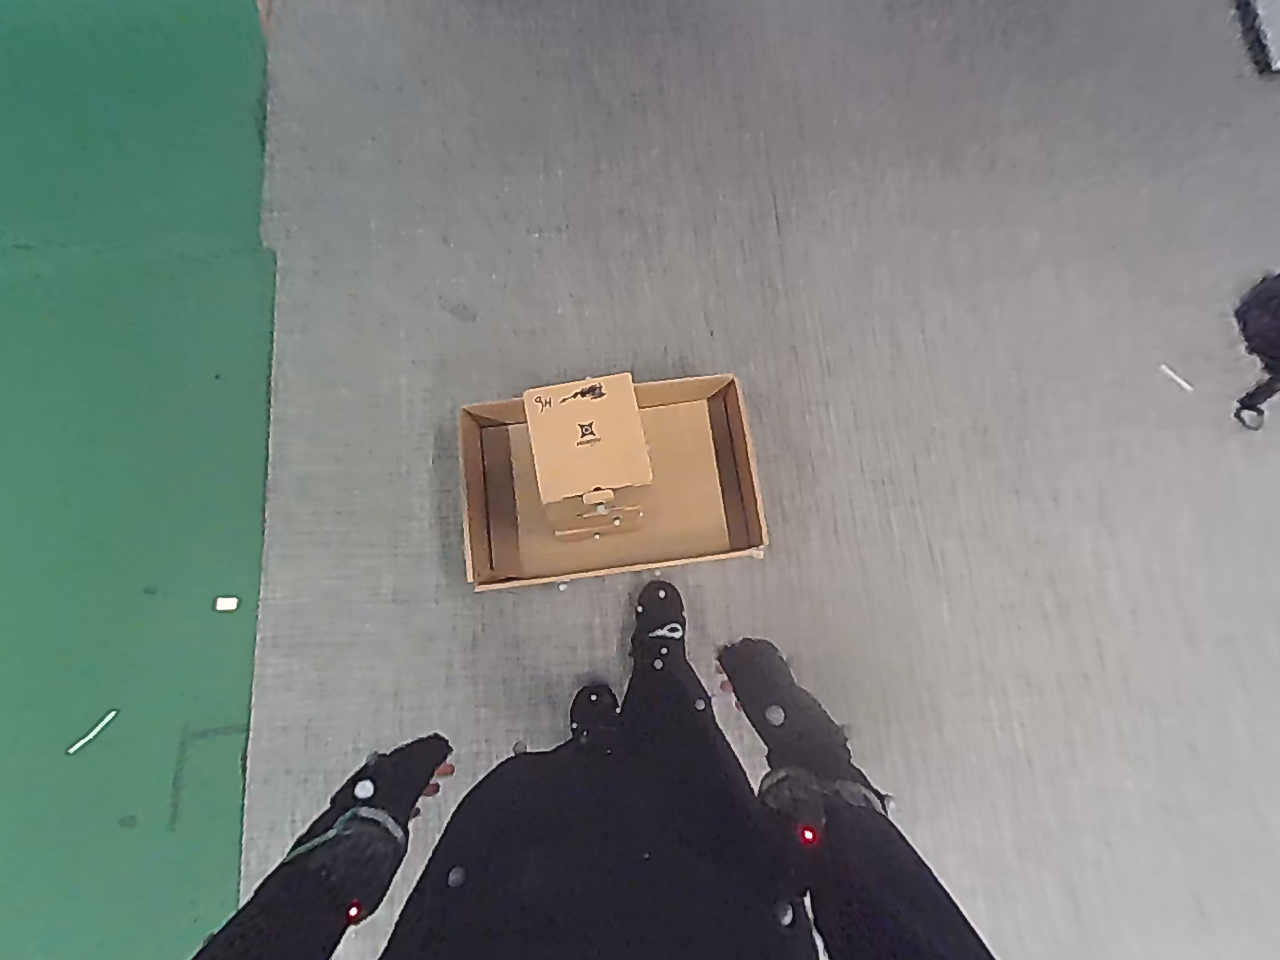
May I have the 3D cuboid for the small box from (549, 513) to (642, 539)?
[{"bbox_3d":[-0.087,0.014,1.028,0.168,0.176,0.179,-7,76,-4],"label":"small box"}]

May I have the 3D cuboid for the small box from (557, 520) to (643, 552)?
[{"bbox_3d":[-0.091,0.059,1.183,0.179,0.176,0.168,-9,77,-1],"label":"small box"}]

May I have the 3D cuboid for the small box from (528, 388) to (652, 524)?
[{"bbox_3d":[-0.076,-0.028,0.870,0.168,0.176,0.179,-9,78,-4],"label":"small box"}]
